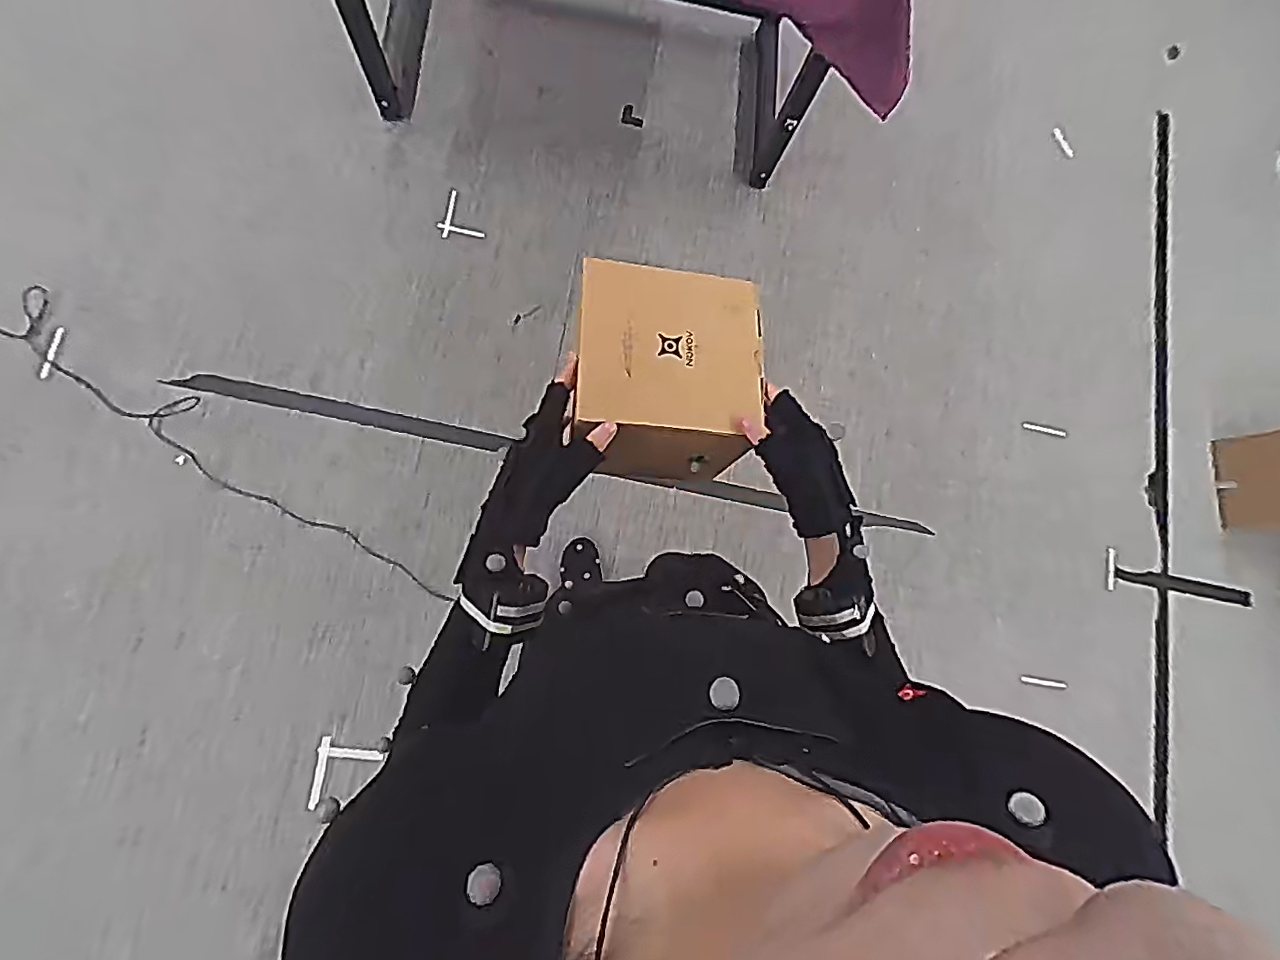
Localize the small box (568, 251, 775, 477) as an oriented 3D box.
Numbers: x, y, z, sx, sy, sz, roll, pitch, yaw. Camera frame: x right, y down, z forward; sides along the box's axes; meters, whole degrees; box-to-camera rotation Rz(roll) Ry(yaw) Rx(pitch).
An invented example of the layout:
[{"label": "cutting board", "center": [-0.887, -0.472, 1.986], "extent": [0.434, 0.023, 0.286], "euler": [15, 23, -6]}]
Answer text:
[{"label": "small box", "center": [0.021, -0.105, 0.562], "extent": [0.179, 0.176, 0.168], "euler": [3, 73, -10]}]
